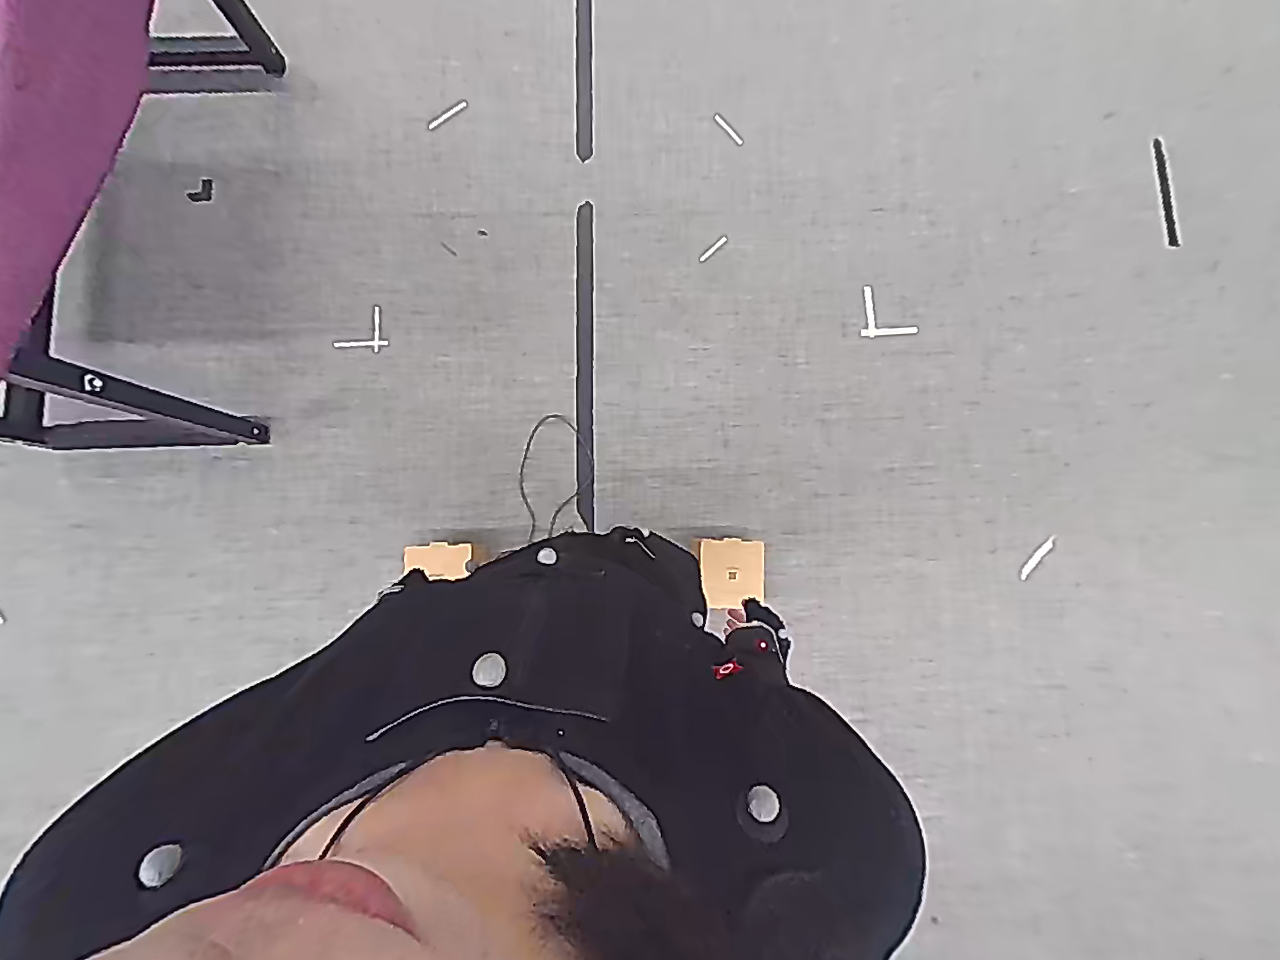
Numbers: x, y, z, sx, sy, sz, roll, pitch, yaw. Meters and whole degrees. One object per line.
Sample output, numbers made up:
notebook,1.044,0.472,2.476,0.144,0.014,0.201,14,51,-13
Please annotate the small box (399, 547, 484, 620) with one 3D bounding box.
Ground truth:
small box,-0.507,0.266,1.403,0.168,0.176,0.179,-1,81,-3

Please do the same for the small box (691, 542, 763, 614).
small box,0.226,0.256,1.442,0.168,0.176,0.179,1,84,-1
